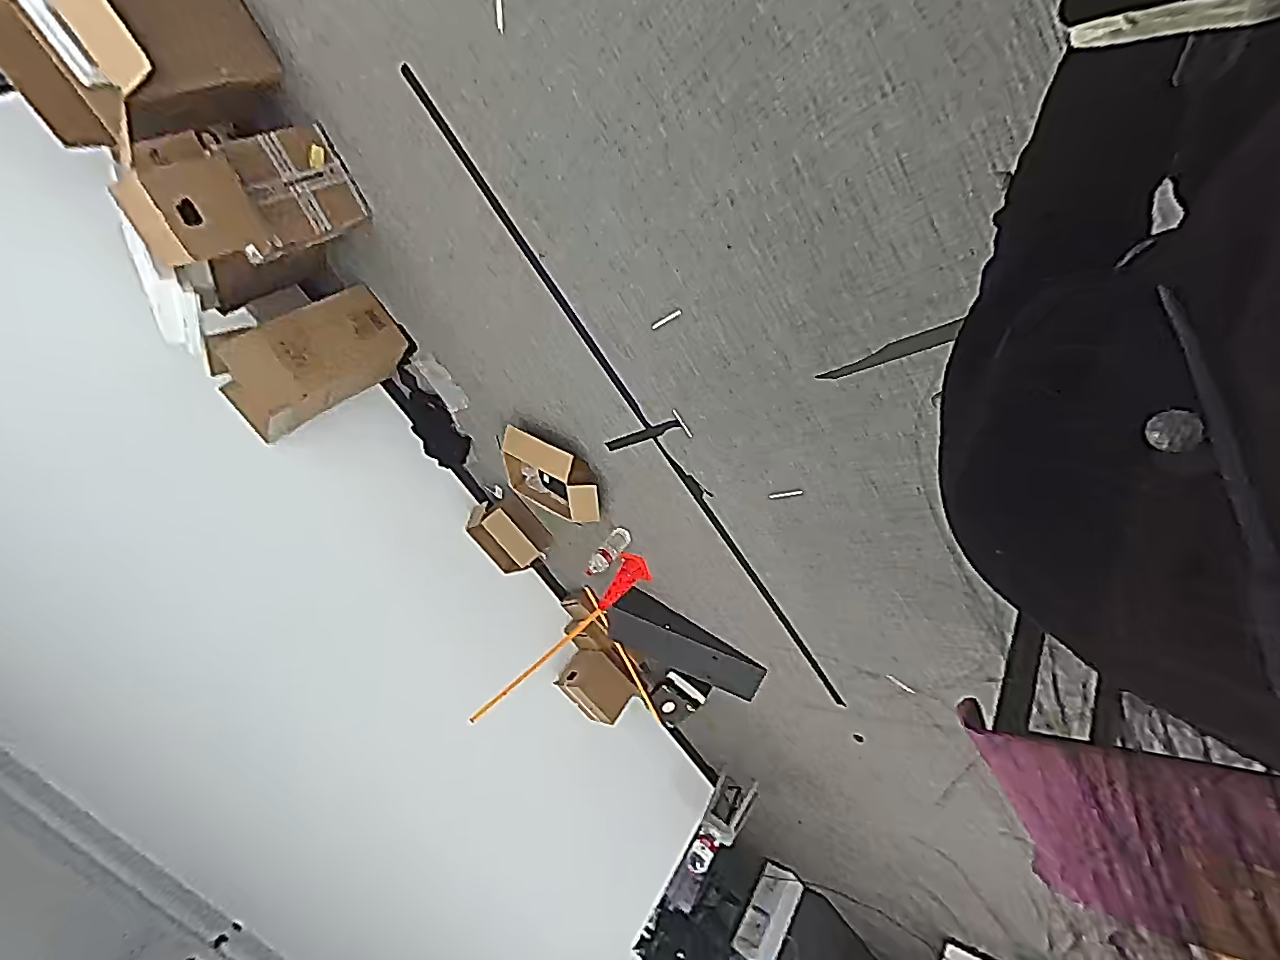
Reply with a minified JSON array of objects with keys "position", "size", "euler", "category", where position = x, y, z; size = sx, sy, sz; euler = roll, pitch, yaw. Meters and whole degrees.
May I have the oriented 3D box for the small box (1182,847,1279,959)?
[{"position":[1.048,0.778,0.917],"size":[0.168,0.176,0.179],"euler":[-7,122,48],"category":"small box"}]
